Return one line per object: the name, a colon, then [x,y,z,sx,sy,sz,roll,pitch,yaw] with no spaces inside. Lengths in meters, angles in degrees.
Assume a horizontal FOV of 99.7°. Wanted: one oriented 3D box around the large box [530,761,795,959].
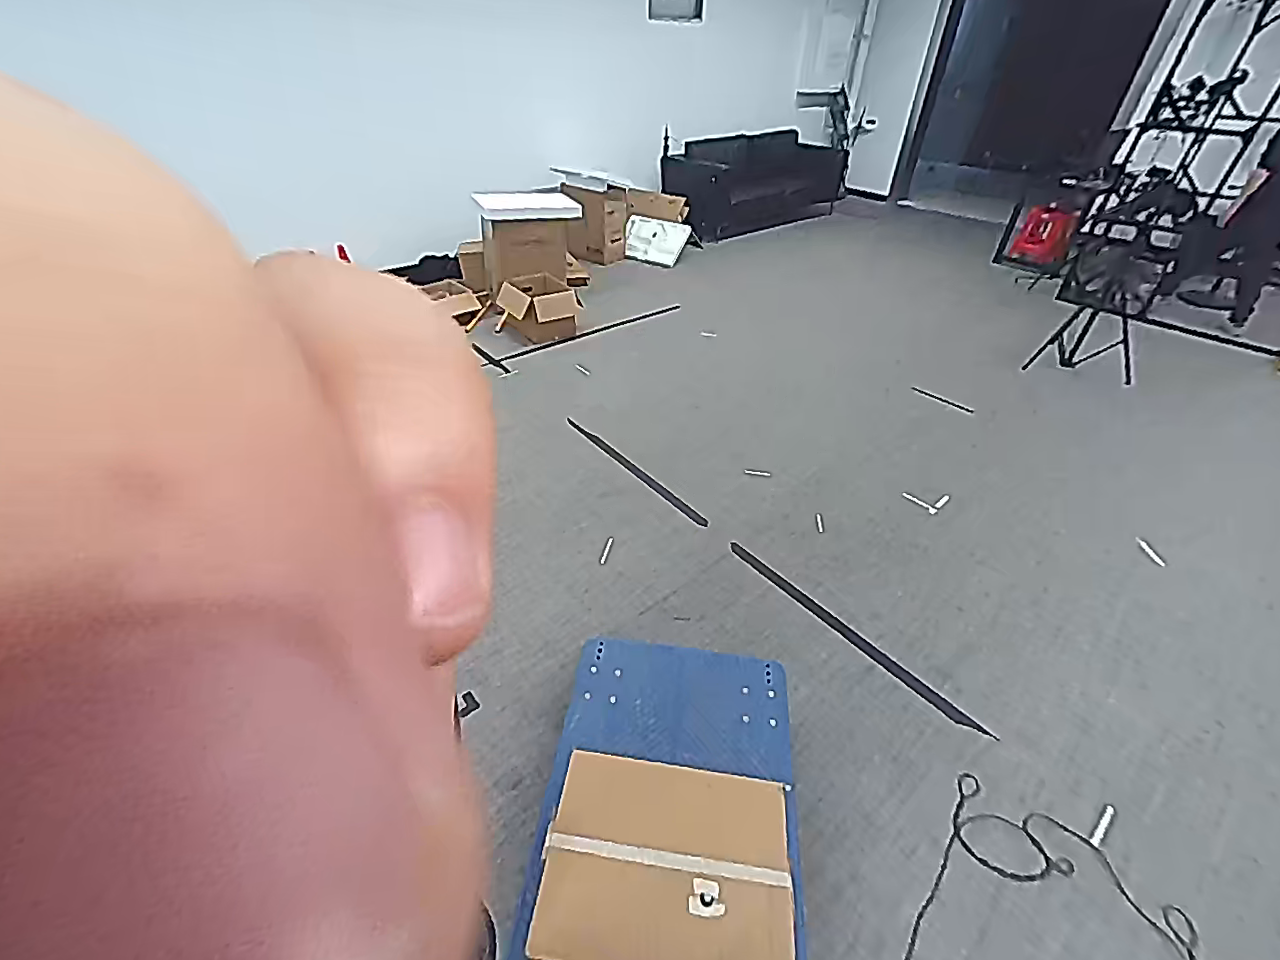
large box: [0.042,0.766,0.989,0.408,0.320,0.320,7,39,5]
